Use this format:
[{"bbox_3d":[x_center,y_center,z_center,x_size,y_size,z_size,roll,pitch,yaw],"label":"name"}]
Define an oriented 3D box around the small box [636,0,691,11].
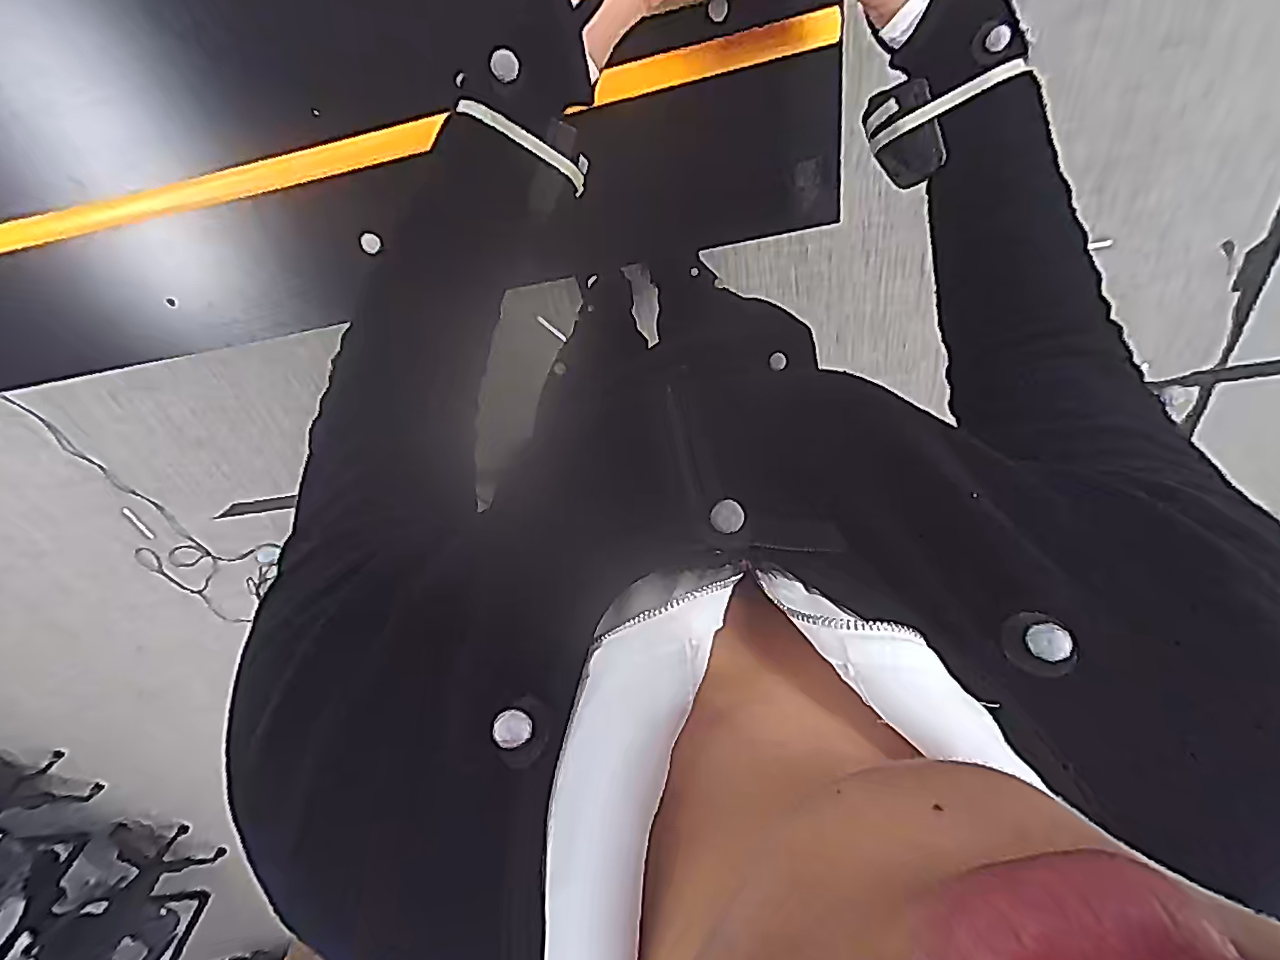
[{"bbox_3d":[0.054,-0.446,0.358,0.168,0.176,0.179,-8,127,7],"label":"small box"}]
